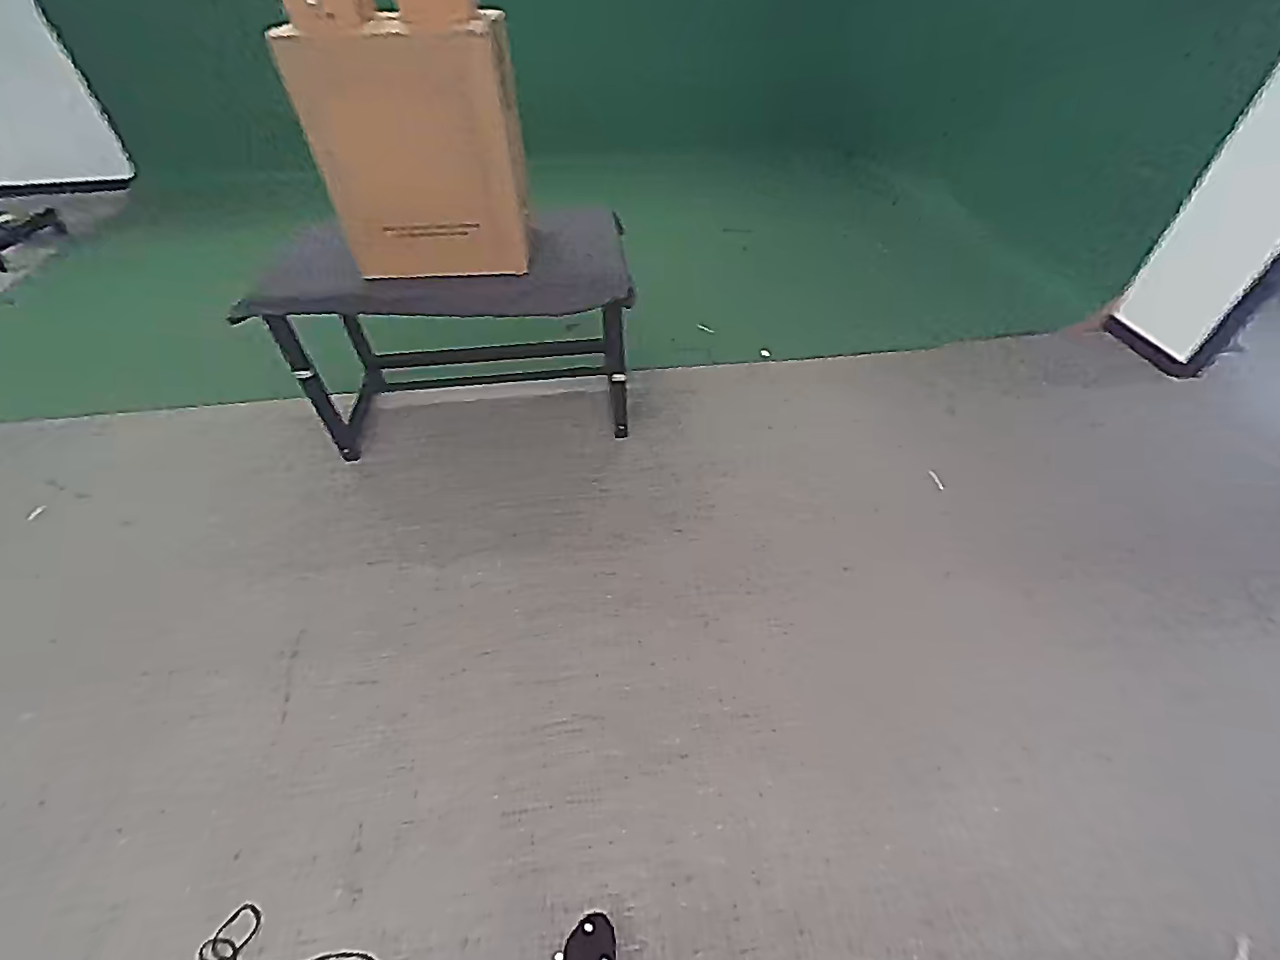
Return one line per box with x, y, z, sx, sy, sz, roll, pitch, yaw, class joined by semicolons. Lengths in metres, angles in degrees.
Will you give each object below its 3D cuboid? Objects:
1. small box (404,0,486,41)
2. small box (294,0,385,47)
-0.512;-1.263;1.407;0.179;0.176;0.168;-1;49;-4;small box
-0.775;-1.230;1.380;0.168;0.176;0.179;-3;48;-1;small box
